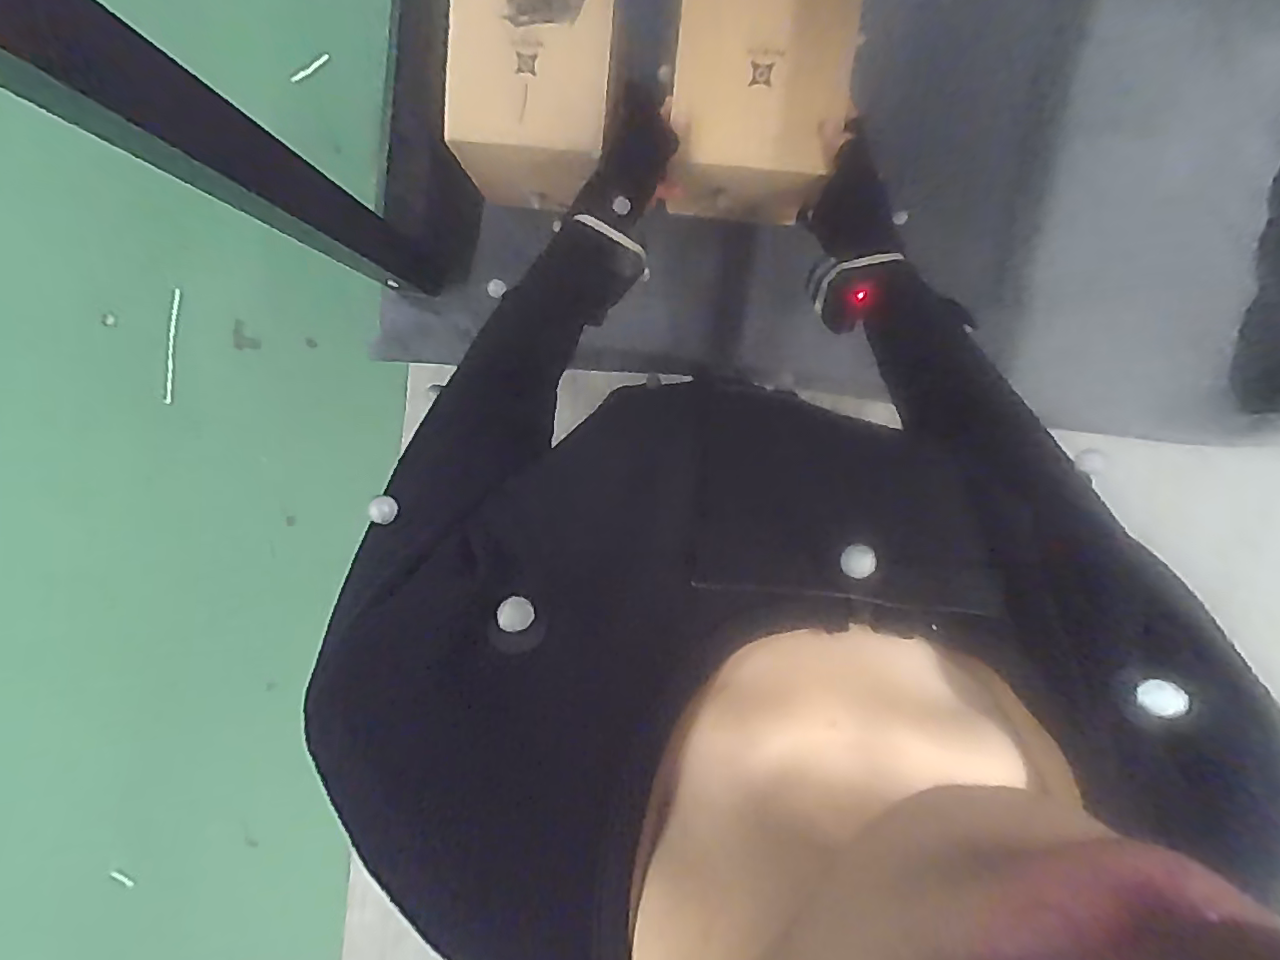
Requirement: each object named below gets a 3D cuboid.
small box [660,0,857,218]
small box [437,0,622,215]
[{"bbox_3d":[0.115,-0.399,0.579,0.168,0.176,0.179,6,99,3],"label":"small box"},{"bbox_3d":[-0.113,-0.433,0.618,0.168,0.176,0.179,7,96,1],"label":"small box"}]
